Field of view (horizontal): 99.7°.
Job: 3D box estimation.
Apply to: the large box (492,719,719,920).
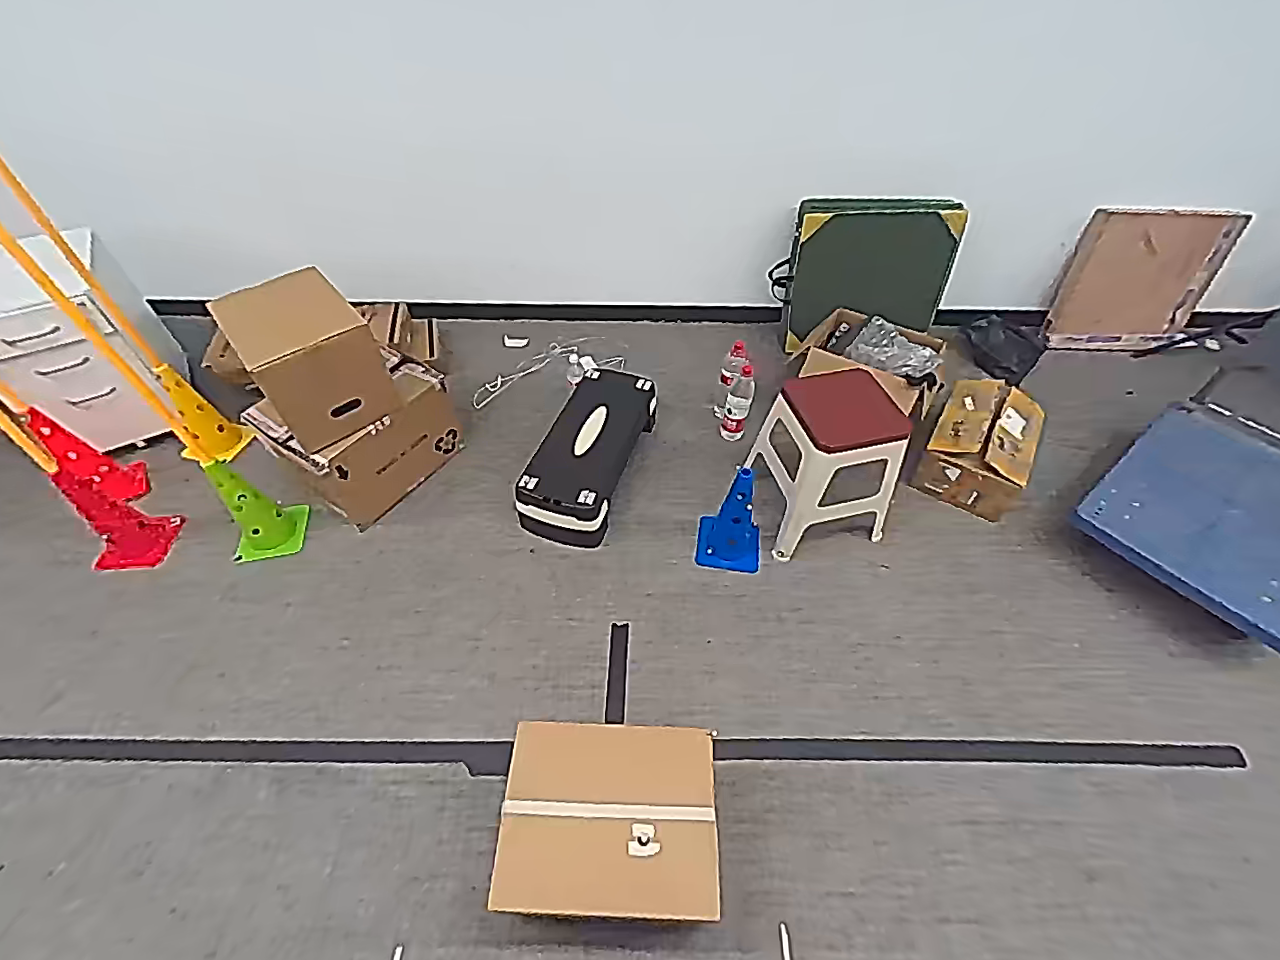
[{"bbox_3d":[-0.063,0.720,1.140,0.408,0.320,0.320,3,50,0],"label":"large box"}]
